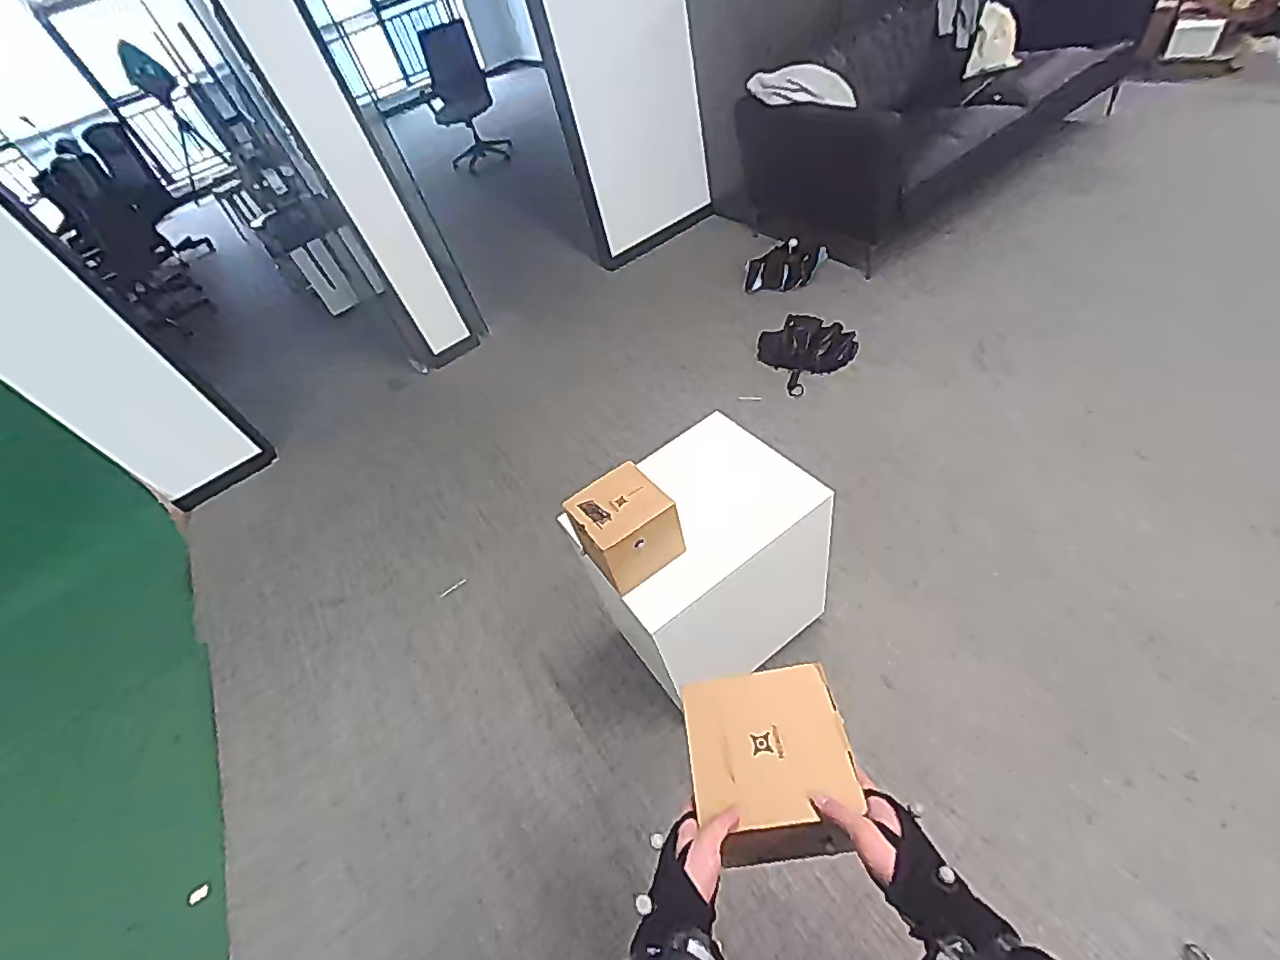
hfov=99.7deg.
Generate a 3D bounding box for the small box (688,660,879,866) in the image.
[{"bbox_3d":[0.166,0.344,0.653,0.179,0.176,0.168,-13,43,6],"label":"small box"}]

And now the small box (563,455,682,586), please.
[{"bbox_3d":[-0.029,0.087,1.124,0.179,0.176,0.168,-33,50,-16],"label":"small box"}]
